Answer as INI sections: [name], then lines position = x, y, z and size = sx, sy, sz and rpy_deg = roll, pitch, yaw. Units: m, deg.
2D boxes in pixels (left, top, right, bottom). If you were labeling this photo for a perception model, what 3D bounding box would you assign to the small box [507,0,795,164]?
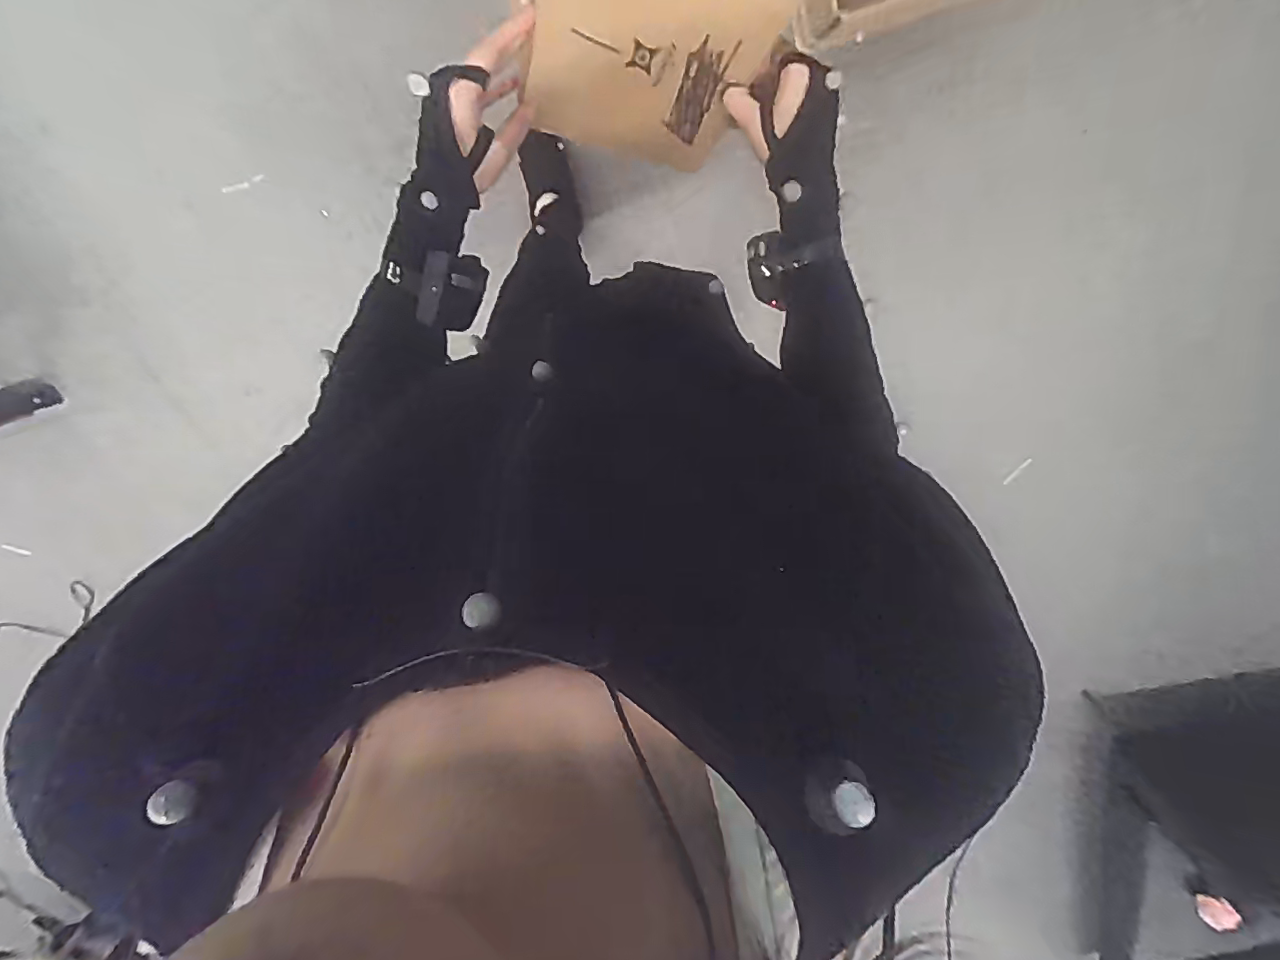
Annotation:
[small box]
position = -0.002, -0.402, 0.430
size = 0.179, 0.176, 0.168
rpy_deg = 2, 160, -25
